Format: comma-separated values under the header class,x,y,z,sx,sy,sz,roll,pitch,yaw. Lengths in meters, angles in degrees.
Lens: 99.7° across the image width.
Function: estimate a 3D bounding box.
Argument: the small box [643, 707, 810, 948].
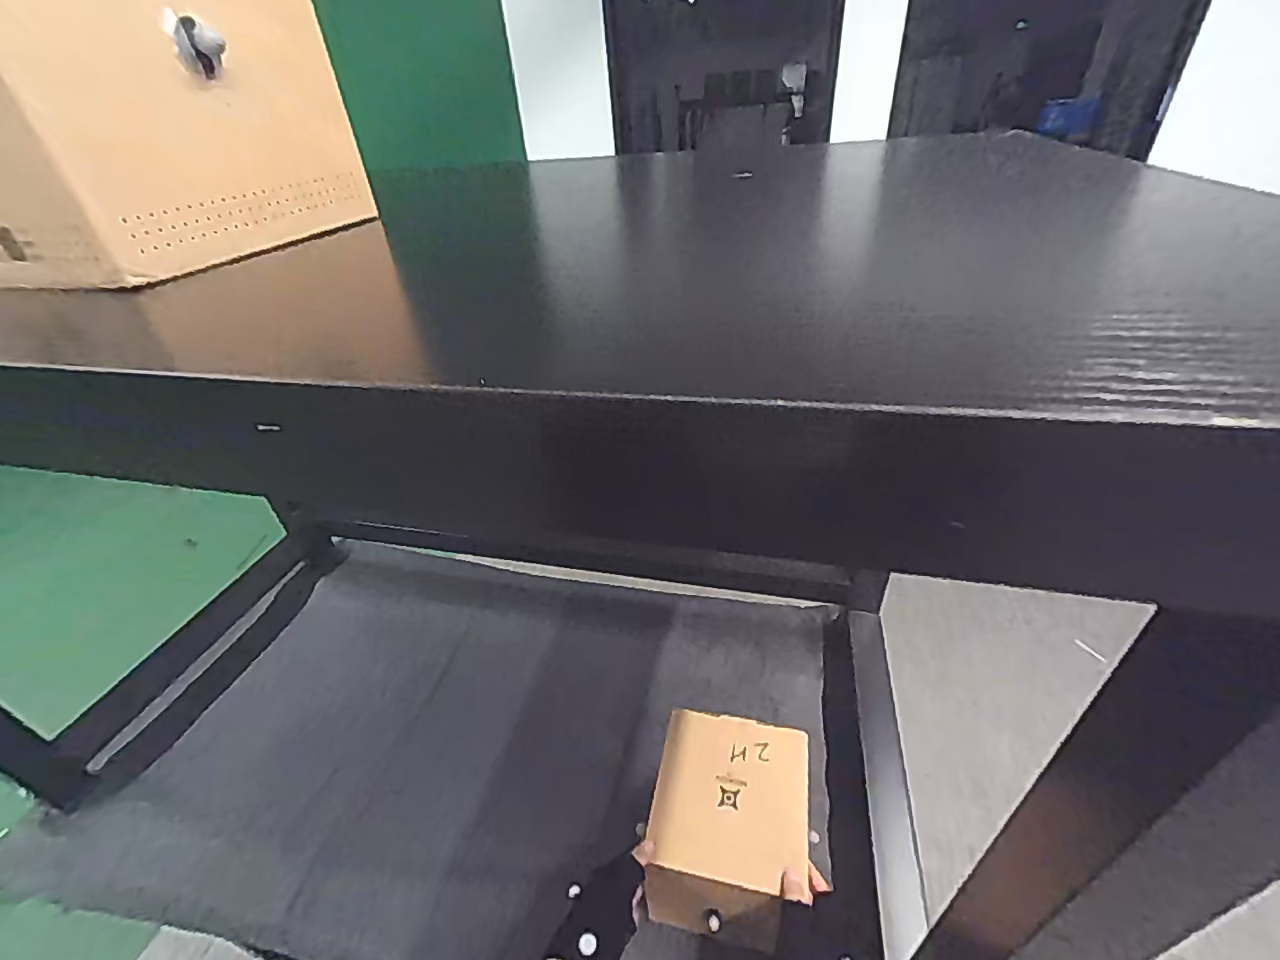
class,x,y,z,sx,sy,sz,roll,pitch,yaw
small box,0.108,0.407,0.641,0.168,0.176,0.179,5,36,14
